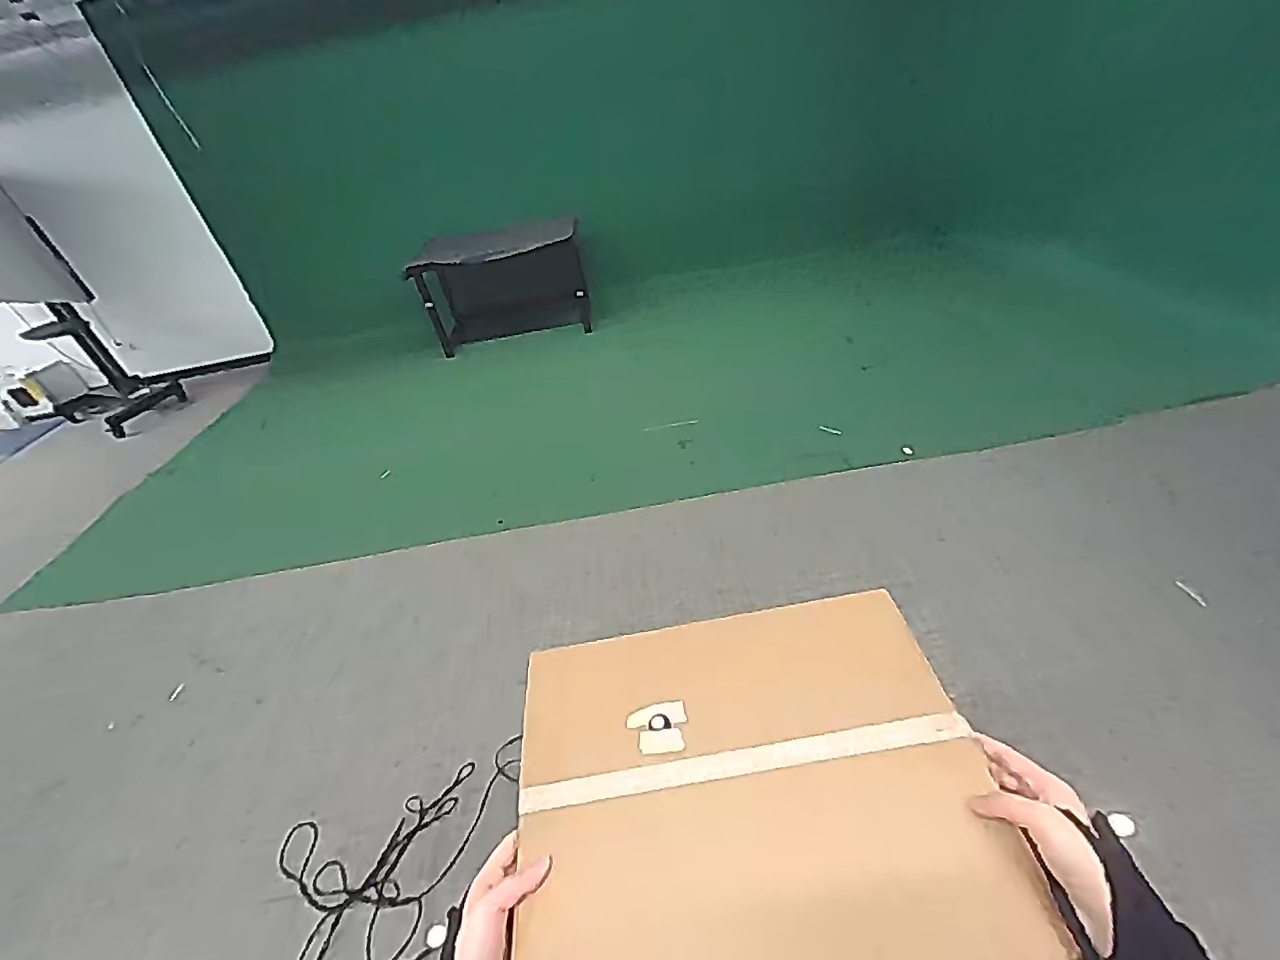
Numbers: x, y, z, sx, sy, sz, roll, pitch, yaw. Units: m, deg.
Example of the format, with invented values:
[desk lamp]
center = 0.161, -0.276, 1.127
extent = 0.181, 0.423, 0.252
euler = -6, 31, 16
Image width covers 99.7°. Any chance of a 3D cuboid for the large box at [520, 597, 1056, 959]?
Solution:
[large box]
center = 0.117, 0.379, 0.596
extent = 0.408, 0.320, 0.320
euler = -13, 40, 4
